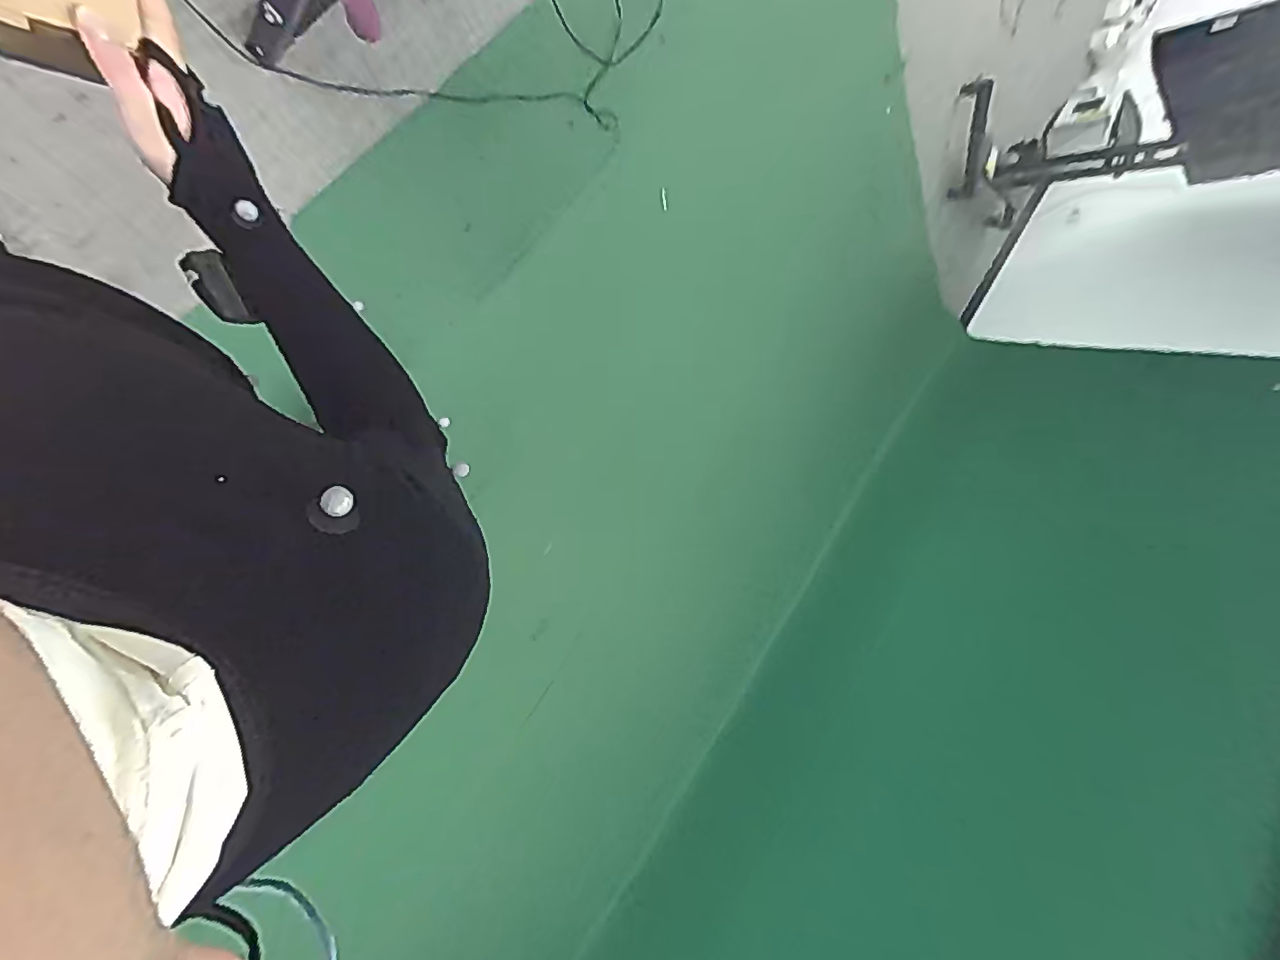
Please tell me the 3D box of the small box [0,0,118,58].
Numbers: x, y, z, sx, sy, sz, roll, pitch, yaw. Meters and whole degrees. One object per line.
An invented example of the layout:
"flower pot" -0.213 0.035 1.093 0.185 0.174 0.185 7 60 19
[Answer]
"small box" -0.477 -0.415 0.355 0.168 0.176 0.179 -14 120 -46
